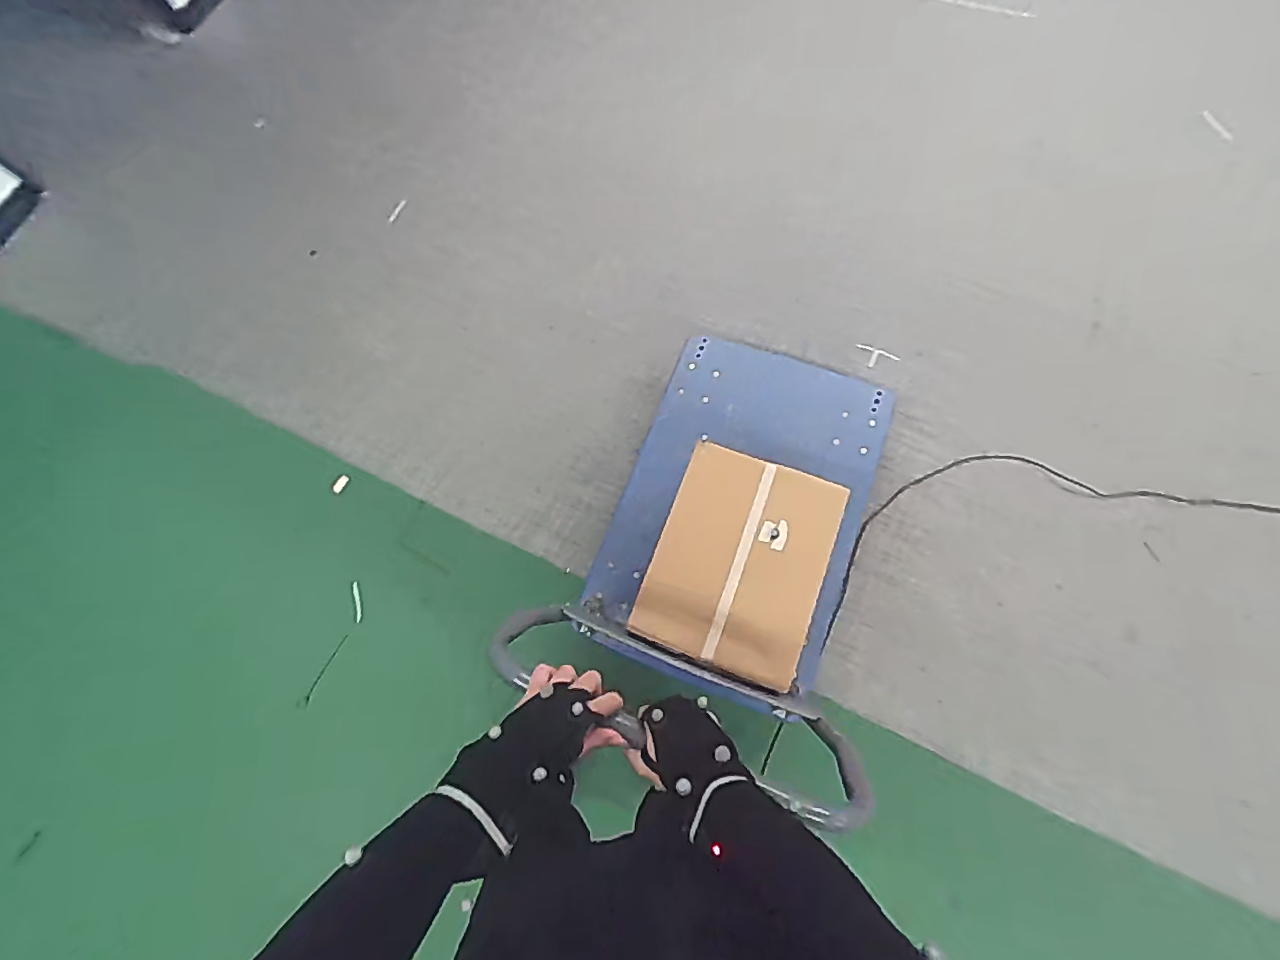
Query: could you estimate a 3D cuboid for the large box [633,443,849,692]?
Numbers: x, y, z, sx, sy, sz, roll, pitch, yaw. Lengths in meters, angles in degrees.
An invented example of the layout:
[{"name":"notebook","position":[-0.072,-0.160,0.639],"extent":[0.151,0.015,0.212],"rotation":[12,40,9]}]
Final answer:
[{"name":"large box","position":[0.208,0.194,1.160],"extent":[0.320,0.320,0.408],"rotation":[20,76,10]}]
